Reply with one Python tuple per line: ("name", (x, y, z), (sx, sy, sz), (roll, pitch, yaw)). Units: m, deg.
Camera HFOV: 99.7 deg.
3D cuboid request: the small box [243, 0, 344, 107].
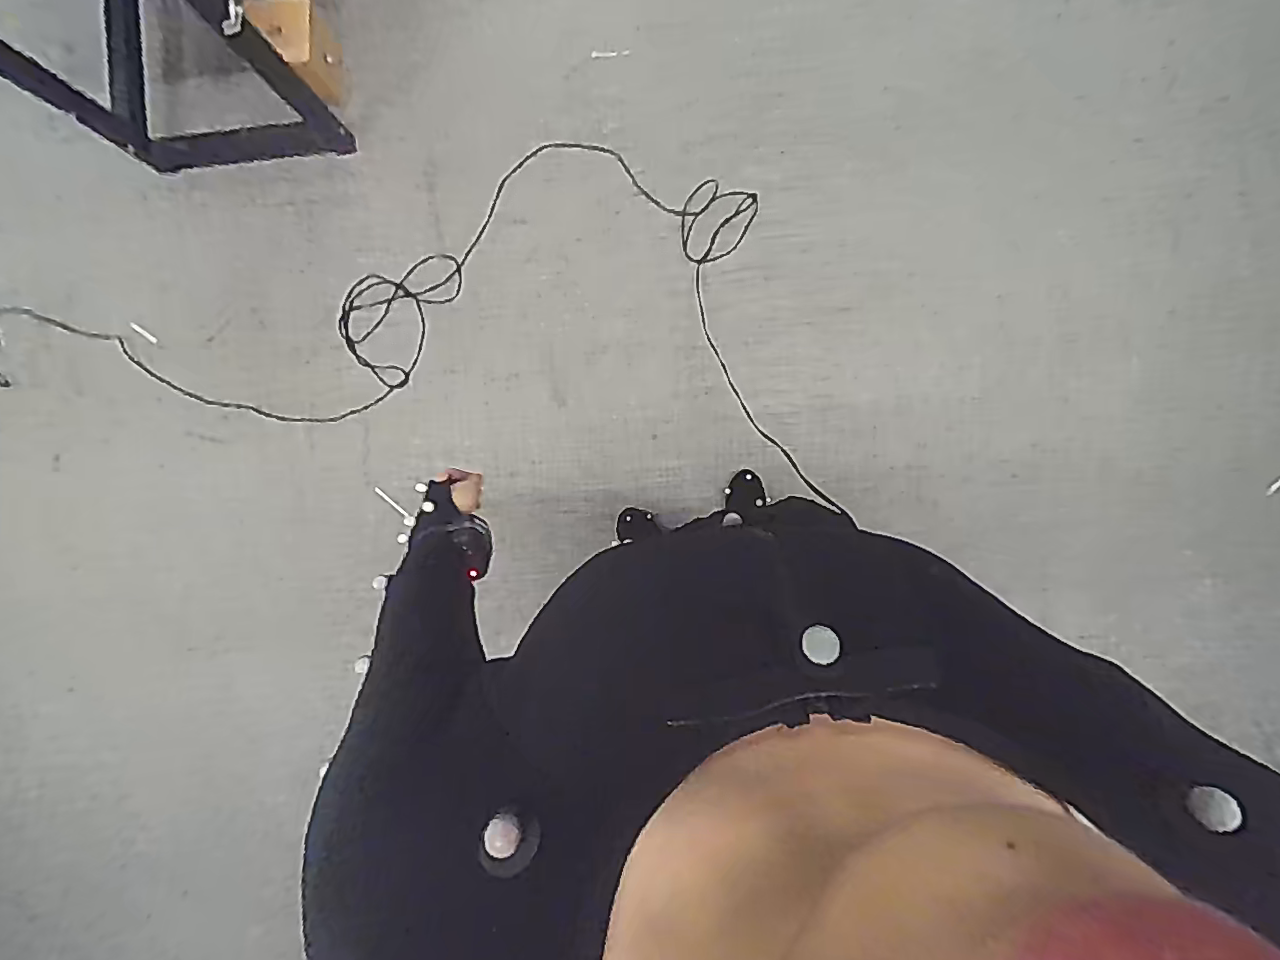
("small box", (-0.920, -1.137, 1.450), (0.179, 0.176, 0.168), (0, 91, 2))
